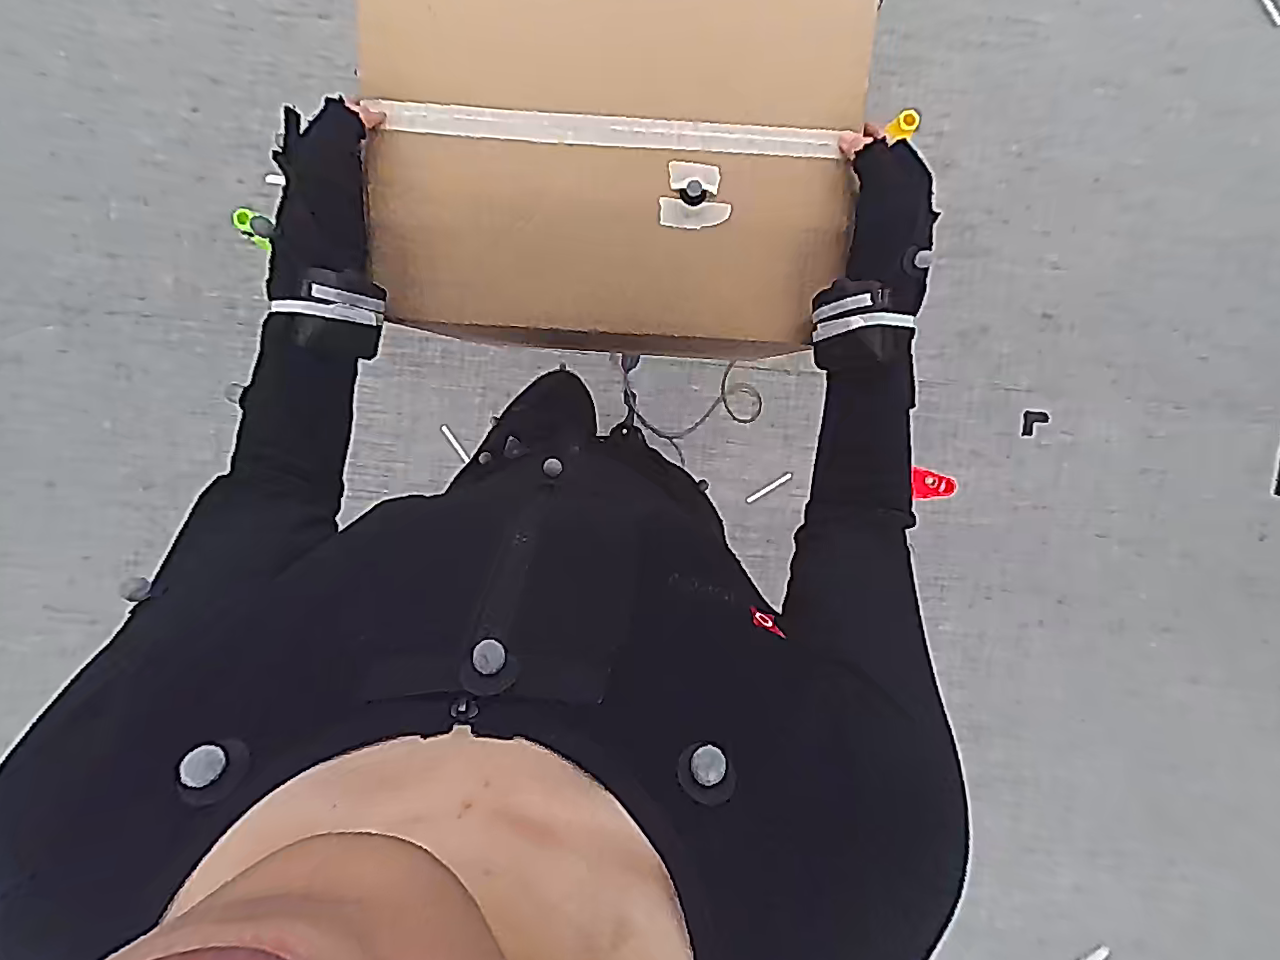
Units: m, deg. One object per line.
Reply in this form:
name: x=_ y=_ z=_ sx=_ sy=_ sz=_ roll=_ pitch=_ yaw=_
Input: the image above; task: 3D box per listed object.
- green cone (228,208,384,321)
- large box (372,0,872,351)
green cone: x=-0.796 y=-0.538 z=1.251 sx=0.202 sy=0.368 sz=0.200 roll=-32 pitch=92 yaw=2
large box: x=-0.022 y=-0.315 z=0.590 sx=0.408 sy=0.320 sz=0.320 roll=3 pitch=100 yaw=-3
